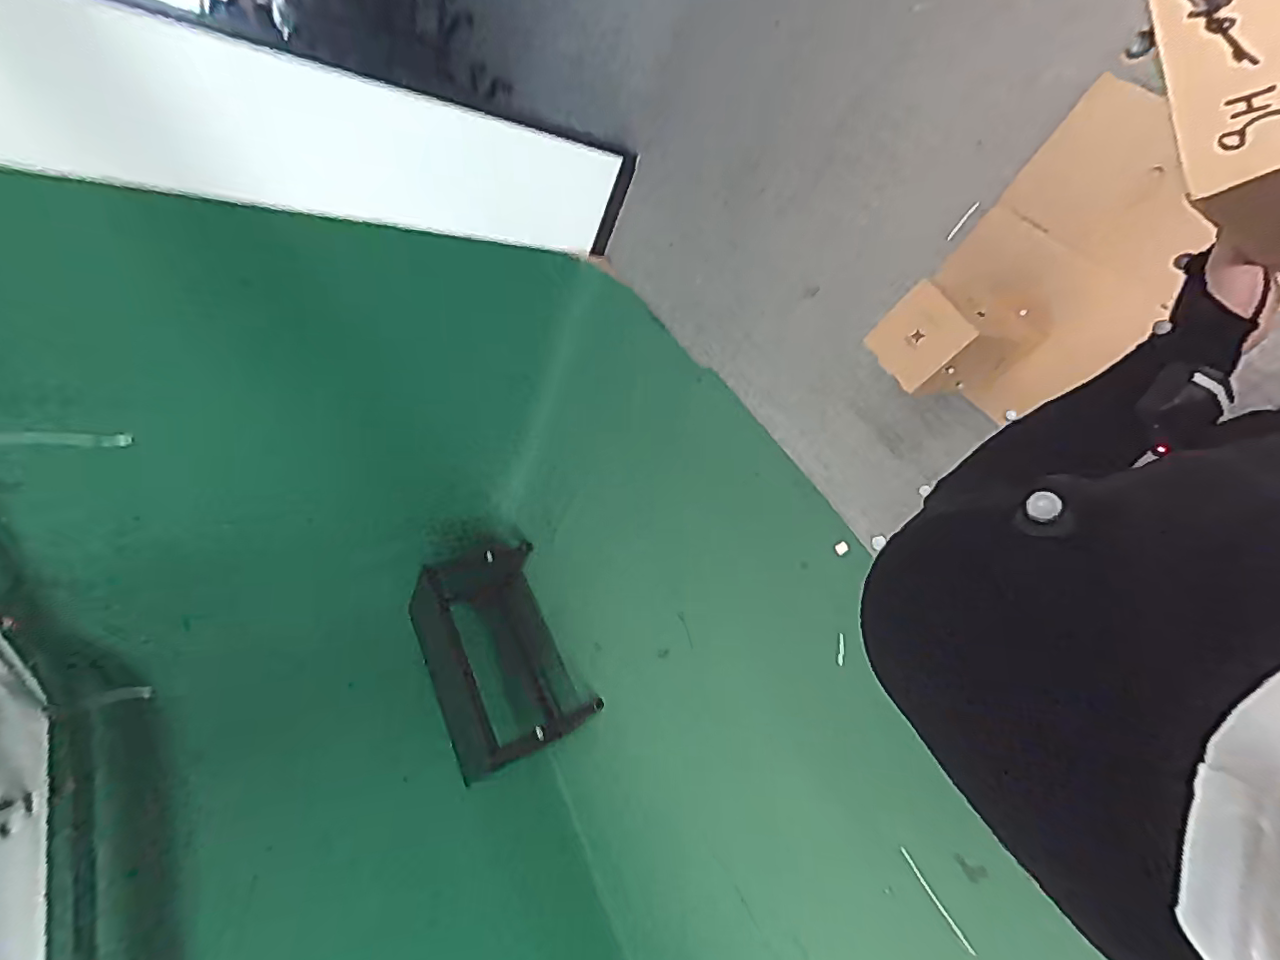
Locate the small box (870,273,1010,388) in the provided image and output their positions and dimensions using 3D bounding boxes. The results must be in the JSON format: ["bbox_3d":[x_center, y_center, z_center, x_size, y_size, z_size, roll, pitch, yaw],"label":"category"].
[{"bbox_3d":[0.650,-0.319,1.174,0.179,0.176,0.168,-52,59,43],"label":"small box"}]

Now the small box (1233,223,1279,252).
[{"bbox_3d":[0.519,-0.270,0.353,0.179,0.176,0.168,-8,90,56],"label":"small box"}]

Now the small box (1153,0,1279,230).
[{"bbox_3d":[0.385,-0.247,0.260,0.179,0.176,0.168,-9,88,55],"label":"small box"}]
